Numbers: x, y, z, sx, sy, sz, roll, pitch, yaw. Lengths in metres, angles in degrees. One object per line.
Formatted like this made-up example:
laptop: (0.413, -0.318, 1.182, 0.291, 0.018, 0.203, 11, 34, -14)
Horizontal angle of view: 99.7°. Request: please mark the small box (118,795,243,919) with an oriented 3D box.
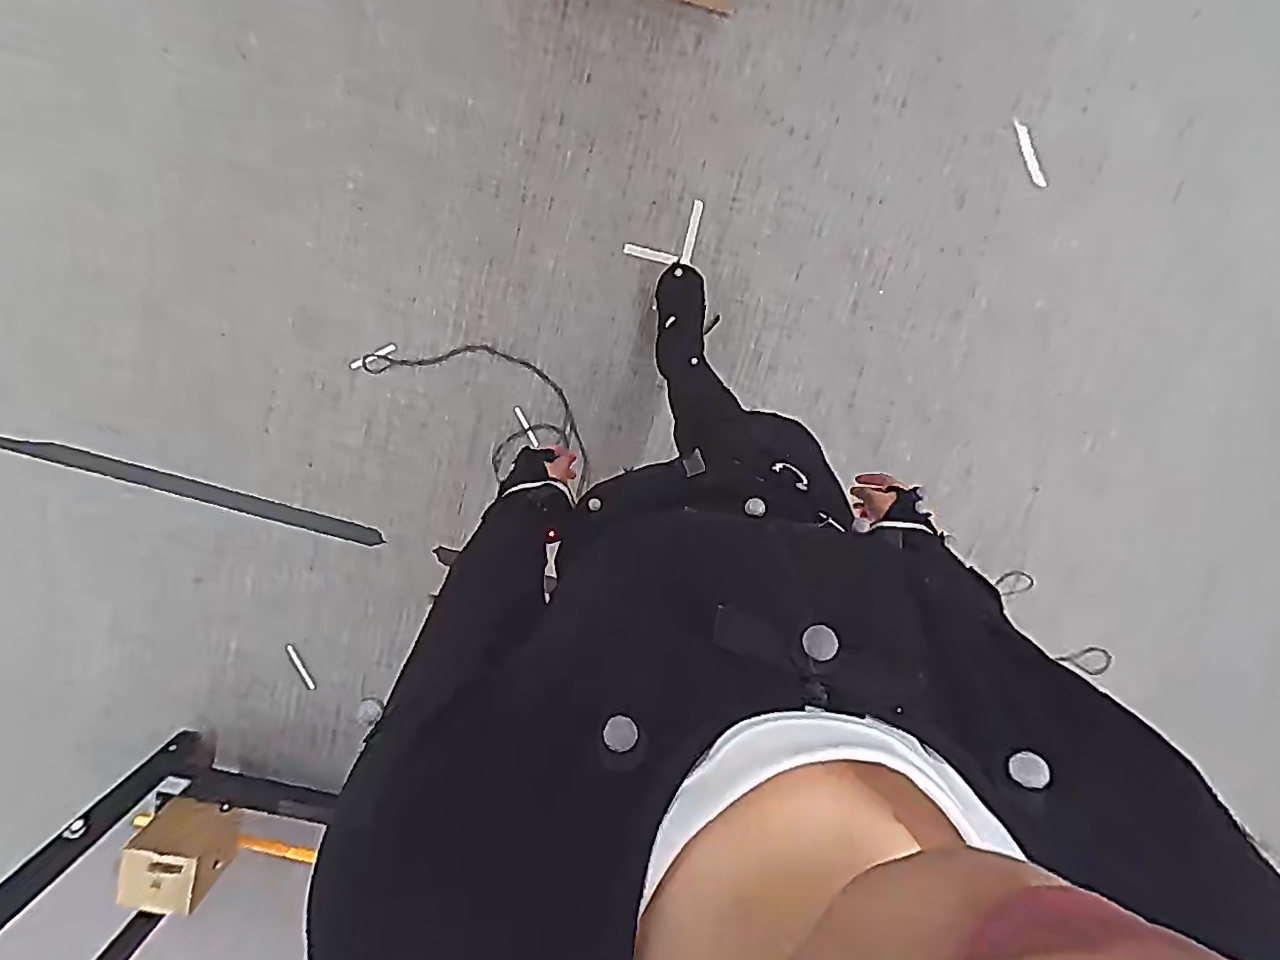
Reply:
small box: (-1.119, 0.917, 1.329, 0.168, 0.176, 0.179, 16, 102, -6)
